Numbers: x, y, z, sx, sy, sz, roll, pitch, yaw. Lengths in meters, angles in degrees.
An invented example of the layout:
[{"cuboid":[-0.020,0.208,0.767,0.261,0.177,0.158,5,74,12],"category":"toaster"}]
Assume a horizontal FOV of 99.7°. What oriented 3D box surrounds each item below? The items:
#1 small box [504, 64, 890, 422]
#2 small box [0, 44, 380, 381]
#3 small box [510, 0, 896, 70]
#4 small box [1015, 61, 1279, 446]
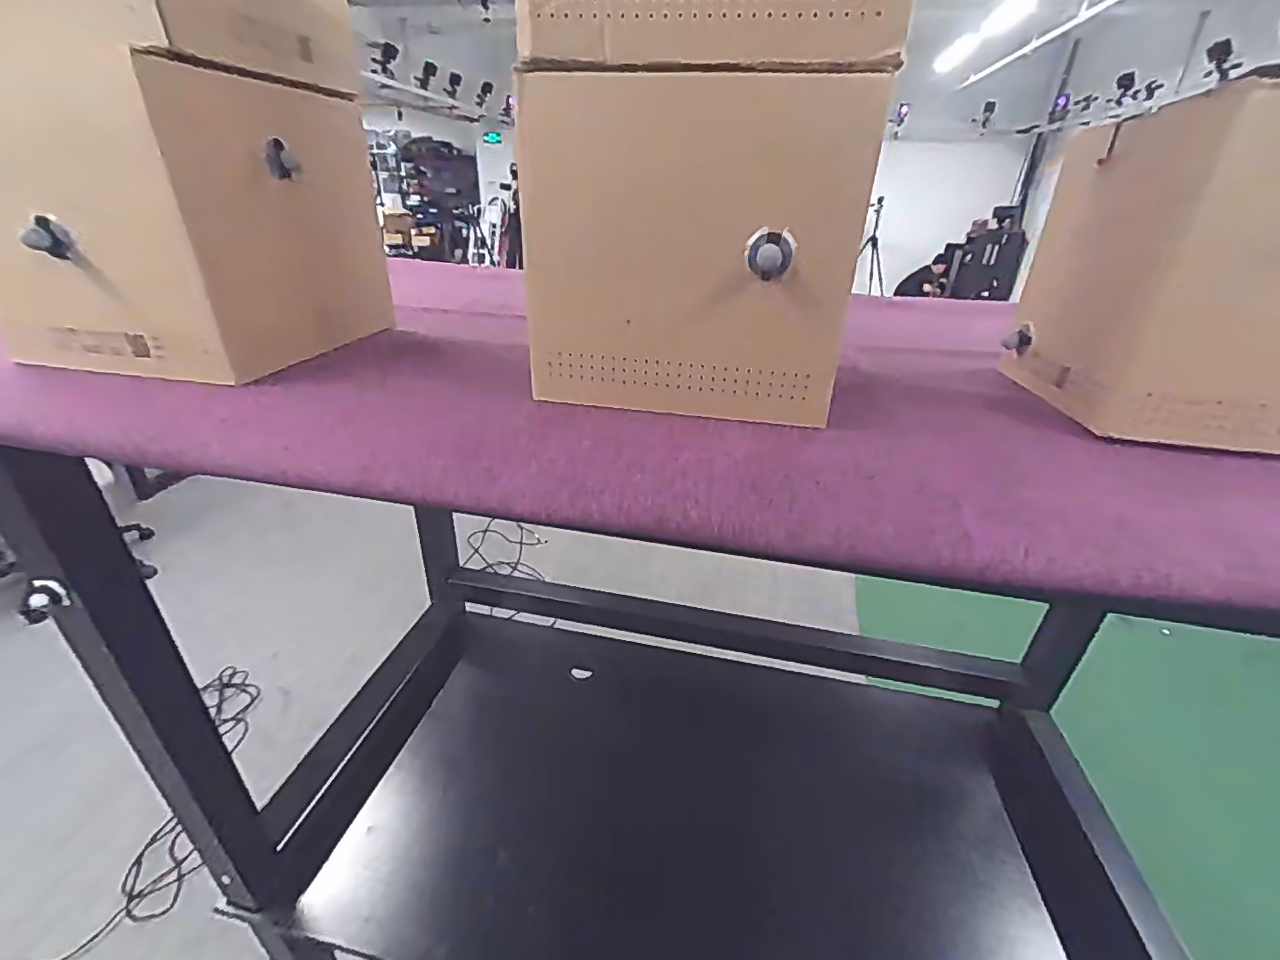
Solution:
[{"cuboid":[0.033,-0.145,0.345,0.179,0.176,0.168,6,28,8],"category":"small box"},{"cuboid":[-0.307,-0.176,0.370,0.168,0.176,0.179,7,29,7],"category":"small box"},{"cuboid":[0.037,-0.291,0.272,0.179,0.176,0.168,6,28,7],"category":"small box"},{"cuboid":[0.354,-0.120,0.315,0.179,0.176,0.168,8,27,11],"category":"small box"}]
